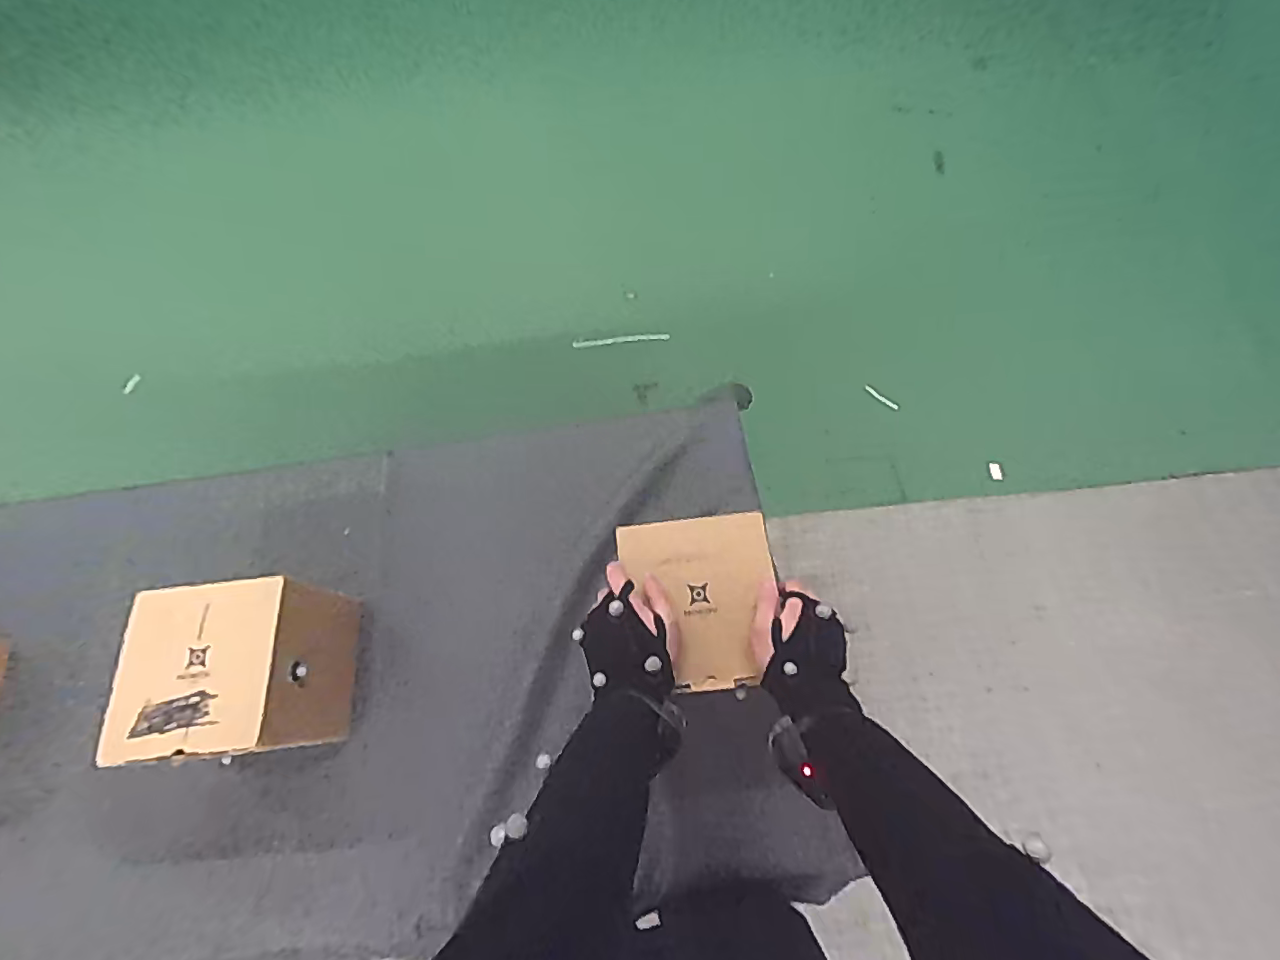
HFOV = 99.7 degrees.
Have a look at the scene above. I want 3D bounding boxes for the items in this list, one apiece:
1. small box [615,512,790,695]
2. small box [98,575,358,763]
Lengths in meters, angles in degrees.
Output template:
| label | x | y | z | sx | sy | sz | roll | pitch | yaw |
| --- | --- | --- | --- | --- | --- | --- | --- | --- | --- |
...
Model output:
| label | x | y | z | sx | sy | sz | roll | pitch | yaw |
| --- | --- | --- | --- | --- | --- | --- | --- | --- | --- |
| small box | 0.064 | 0.153 | 0.641 | 0.168 | 0.176 | 0.179 | -7 | 67 | -1 |
| small box | -0.459 | 0.220 | 0.638 | 0.168 | 0.176 | 0.179 | -6 | 68 | 0 |
